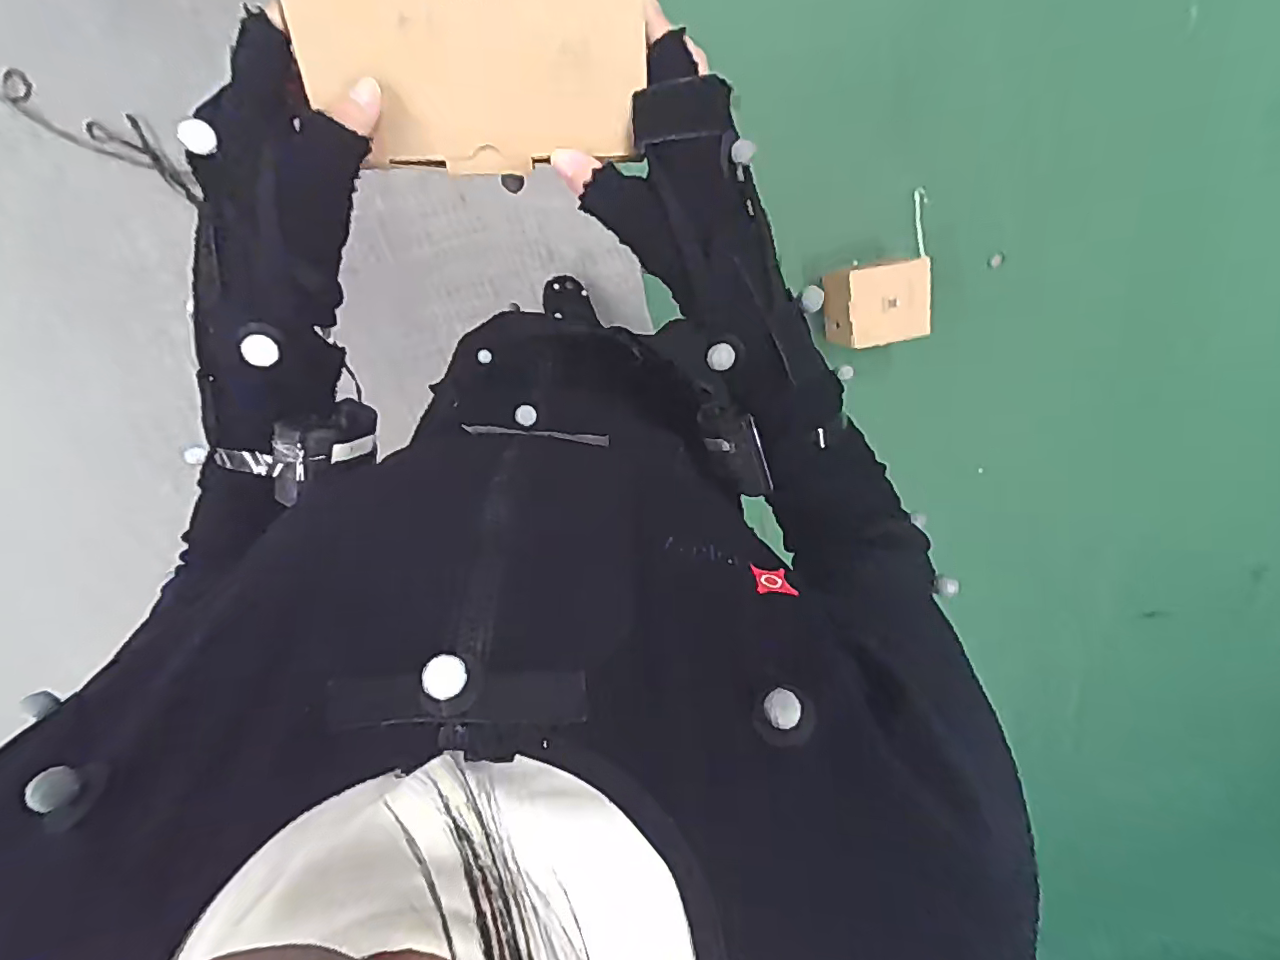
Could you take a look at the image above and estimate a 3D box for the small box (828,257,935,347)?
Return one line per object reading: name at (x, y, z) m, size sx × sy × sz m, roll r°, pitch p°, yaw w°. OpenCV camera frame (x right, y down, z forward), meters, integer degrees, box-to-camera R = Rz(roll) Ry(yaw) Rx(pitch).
small box at (0.539, -0.409, 1.234) m, size 0.179 × 0.176 × 0.168 m, roll -9°, pitch 114°, yaw 1°
